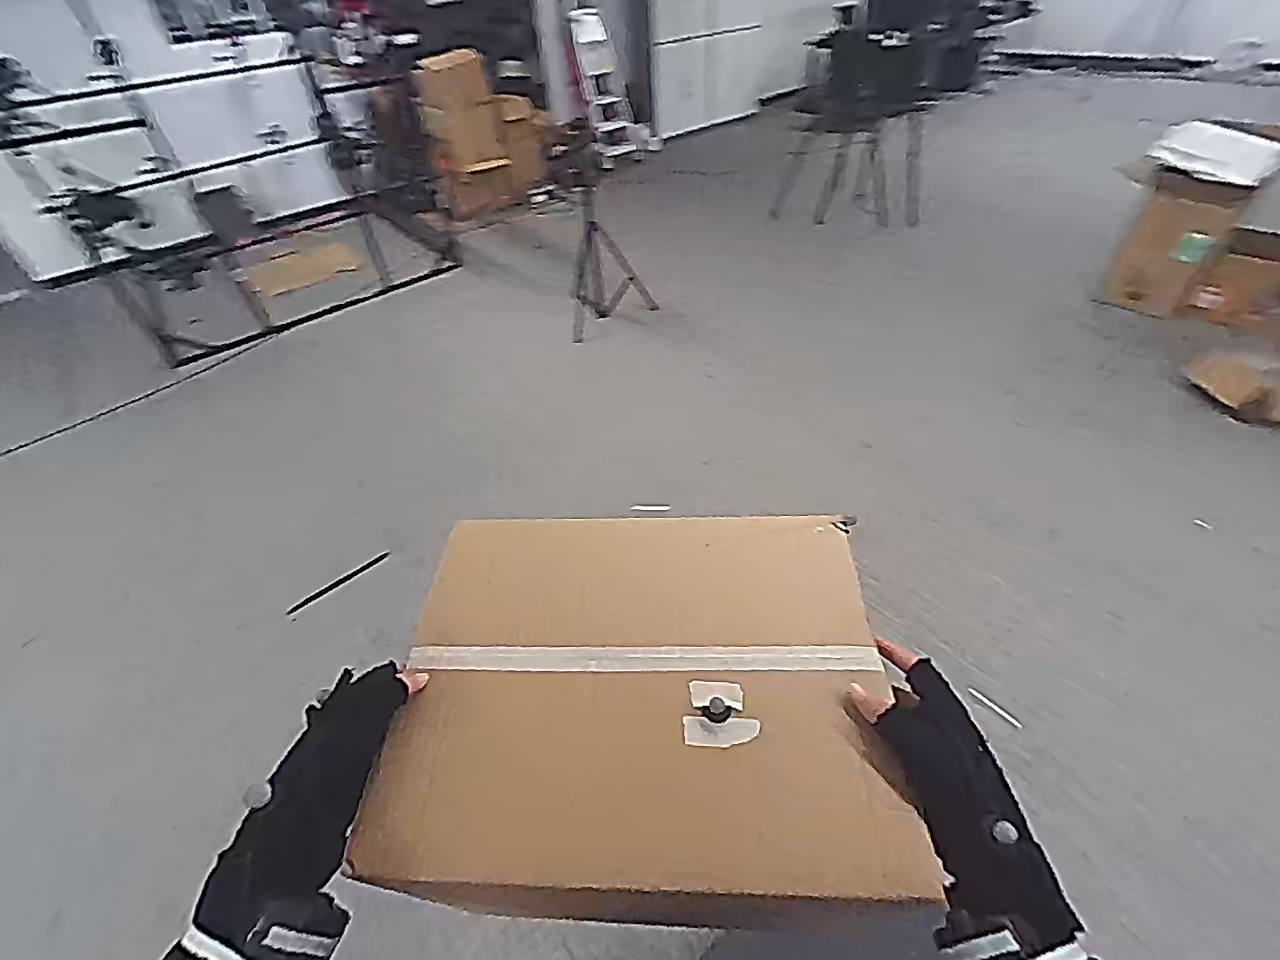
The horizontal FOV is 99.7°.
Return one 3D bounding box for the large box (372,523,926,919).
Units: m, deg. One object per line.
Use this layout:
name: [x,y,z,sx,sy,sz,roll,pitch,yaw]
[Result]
large box: [0.013,0.260,0.589,0.408,0.320,0.320,0,48,5]
